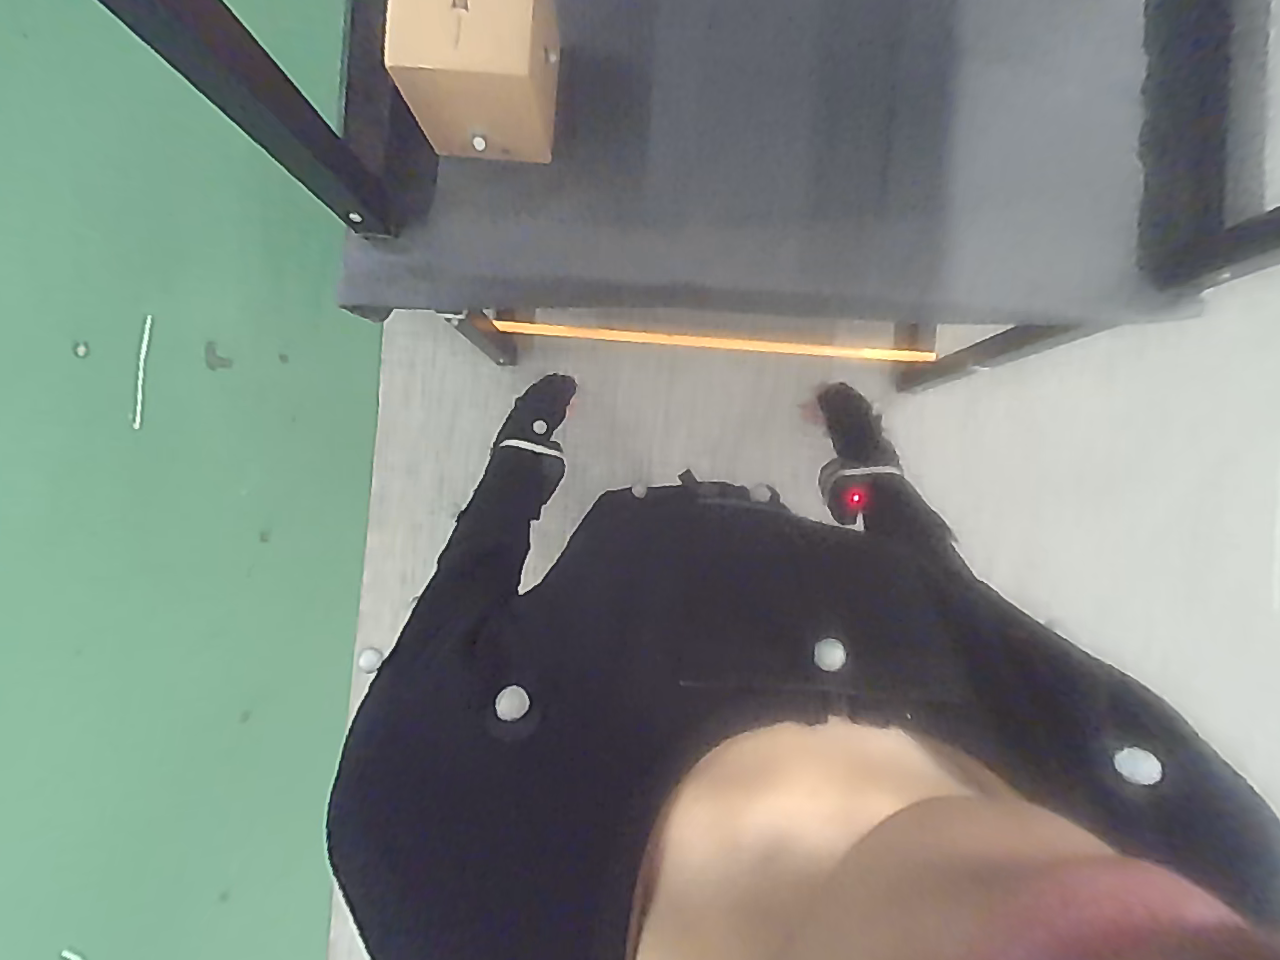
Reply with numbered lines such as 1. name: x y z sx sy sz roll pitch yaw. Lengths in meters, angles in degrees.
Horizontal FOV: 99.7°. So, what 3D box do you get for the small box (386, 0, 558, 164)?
1. small box: -0.201 -0.547 0.694 0.168 0.176 0.179 4 89 -1
